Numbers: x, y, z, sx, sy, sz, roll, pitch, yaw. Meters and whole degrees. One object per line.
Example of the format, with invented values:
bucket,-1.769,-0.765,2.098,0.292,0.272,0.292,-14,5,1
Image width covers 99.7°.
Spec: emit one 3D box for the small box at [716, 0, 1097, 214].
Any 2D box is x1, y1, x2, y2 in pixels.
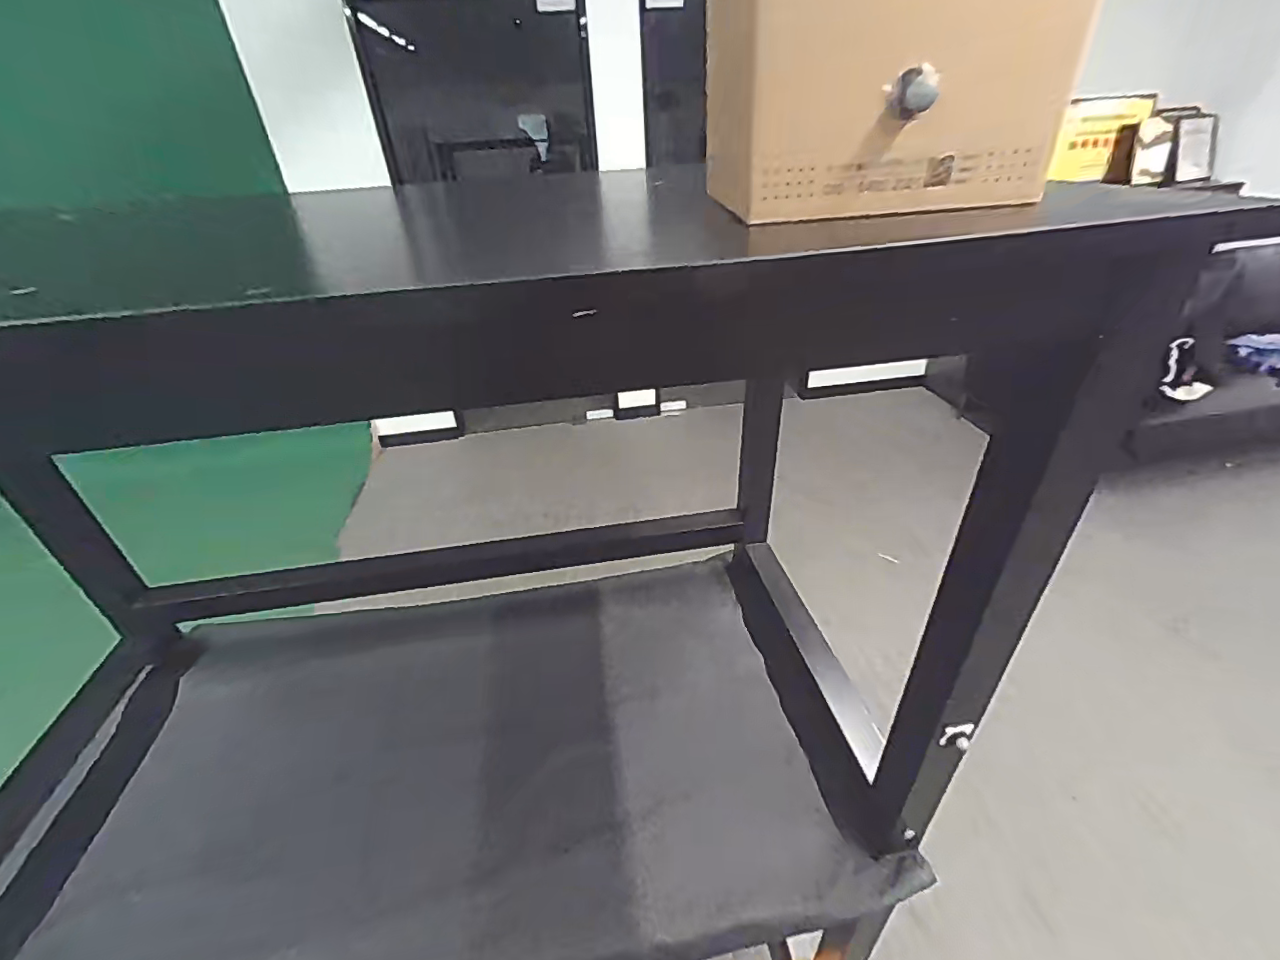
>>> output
small box,0.138,-0.266,0.332,0.168,0.176,0.179,-4,33,1
